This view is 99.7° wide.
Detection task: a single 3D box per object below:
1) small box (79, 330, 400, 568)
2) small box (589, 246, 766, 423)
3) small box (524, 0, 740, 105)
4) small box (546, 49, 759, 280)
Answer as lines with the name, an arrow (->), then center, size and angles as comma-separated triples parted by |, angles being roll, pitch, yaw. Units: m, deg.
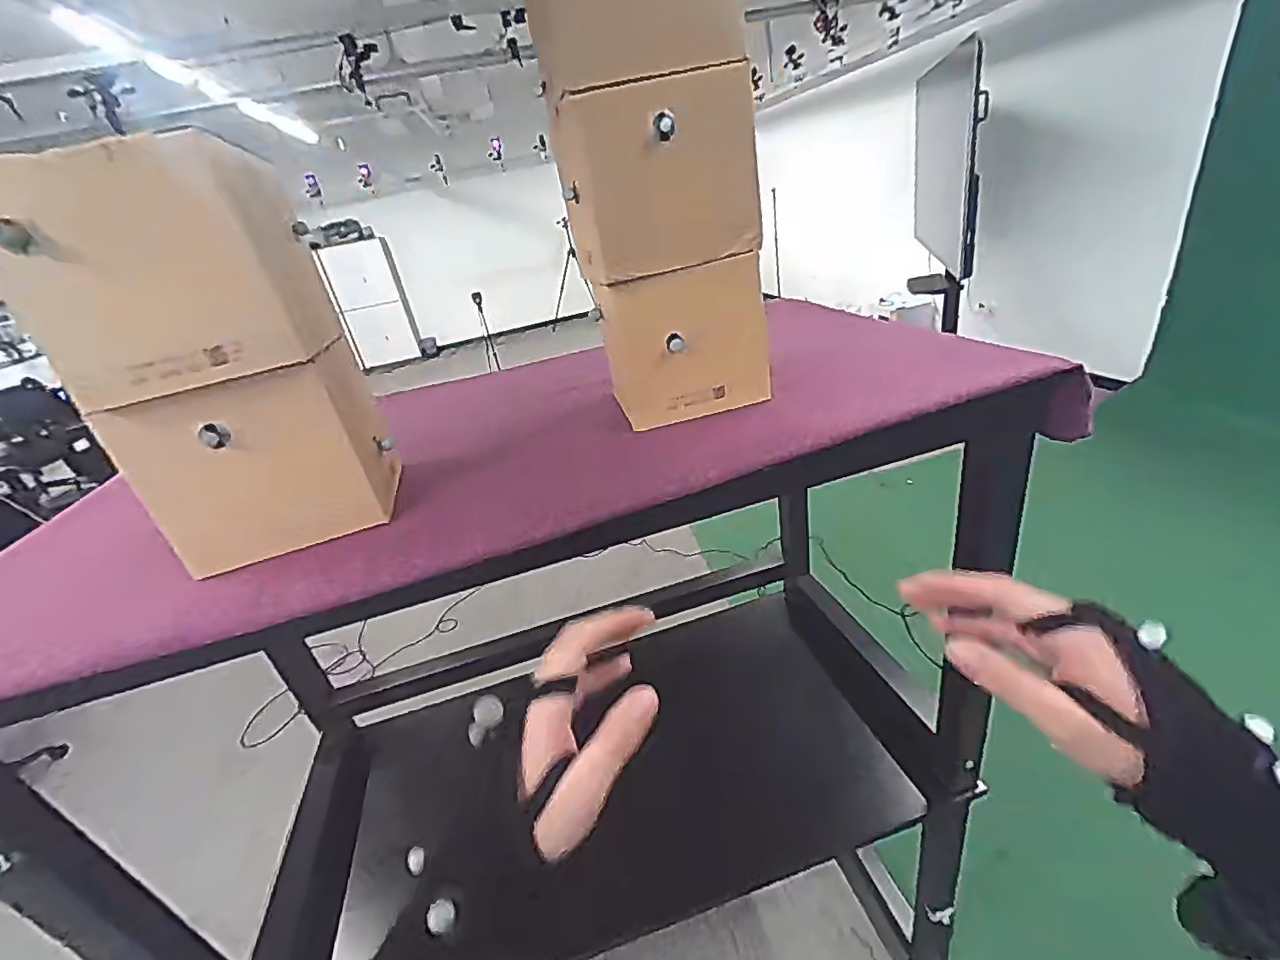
small box -> -0.367, -0.037, 0.542 | 0.179, 0.176, 0.168 | -17, 27, -11
small box -> 0.043, -0.180, 0.657 | 0.168, 0.176, 0.179 | -15, 26, -5
small box -> -0.019, -0.468, 0.515 | 0.179, 0.176, 0.168 | -15, 27, -6
small box -> 0.011, -0.319, 0.577 | 0.179, 0.176, 0.168 | -16, 27, -8
